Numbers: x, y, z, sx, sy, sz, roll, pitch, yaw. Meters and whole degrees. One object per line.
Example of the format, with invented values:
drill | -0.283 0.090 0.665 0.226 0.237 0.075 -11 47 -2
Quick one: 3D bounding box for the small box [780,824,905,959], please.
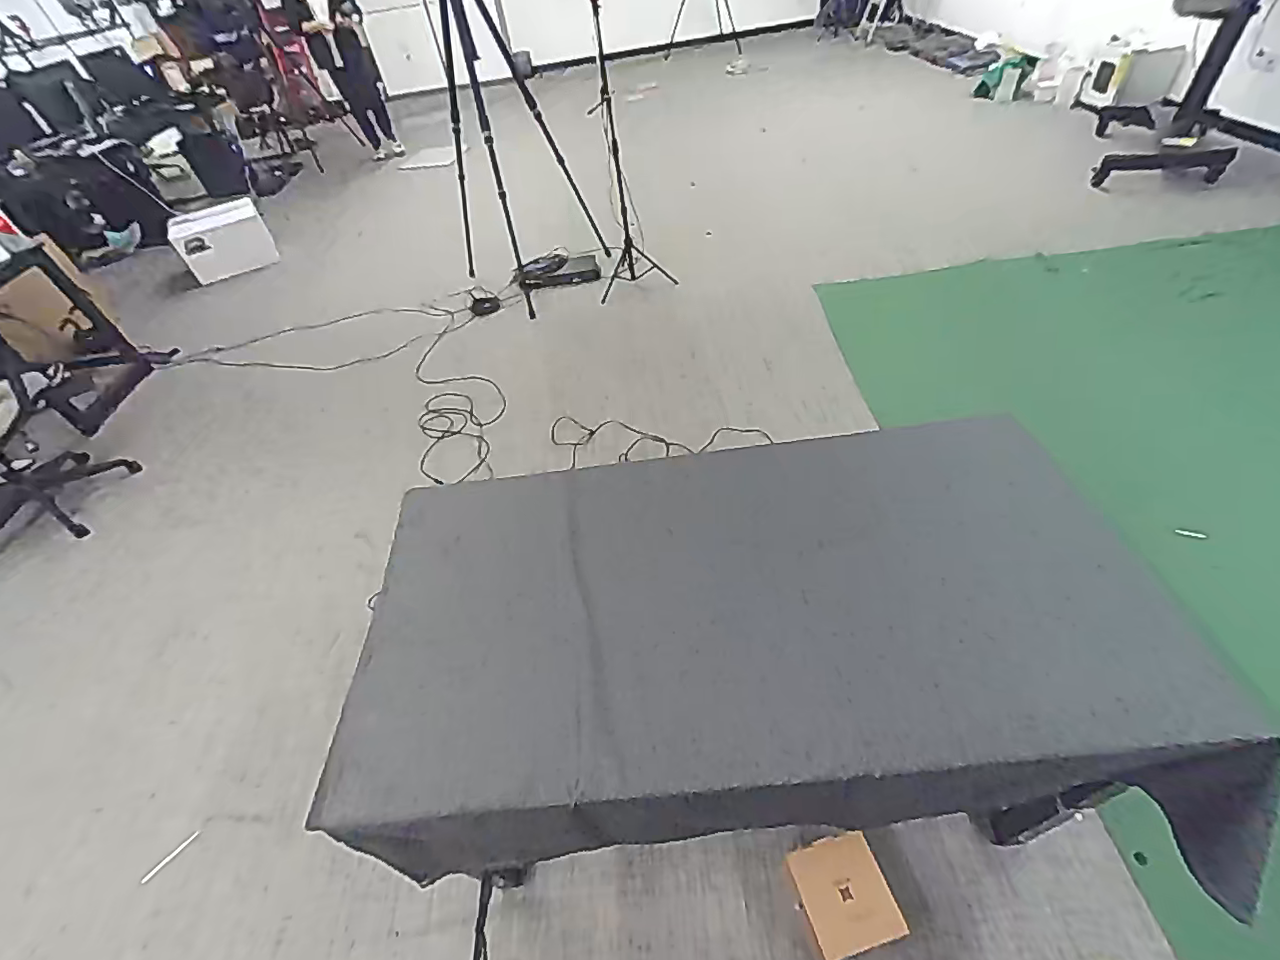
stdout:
small box | 0.394 0.835 1.094 0.168 0.176 0.179 -16 46 -5
